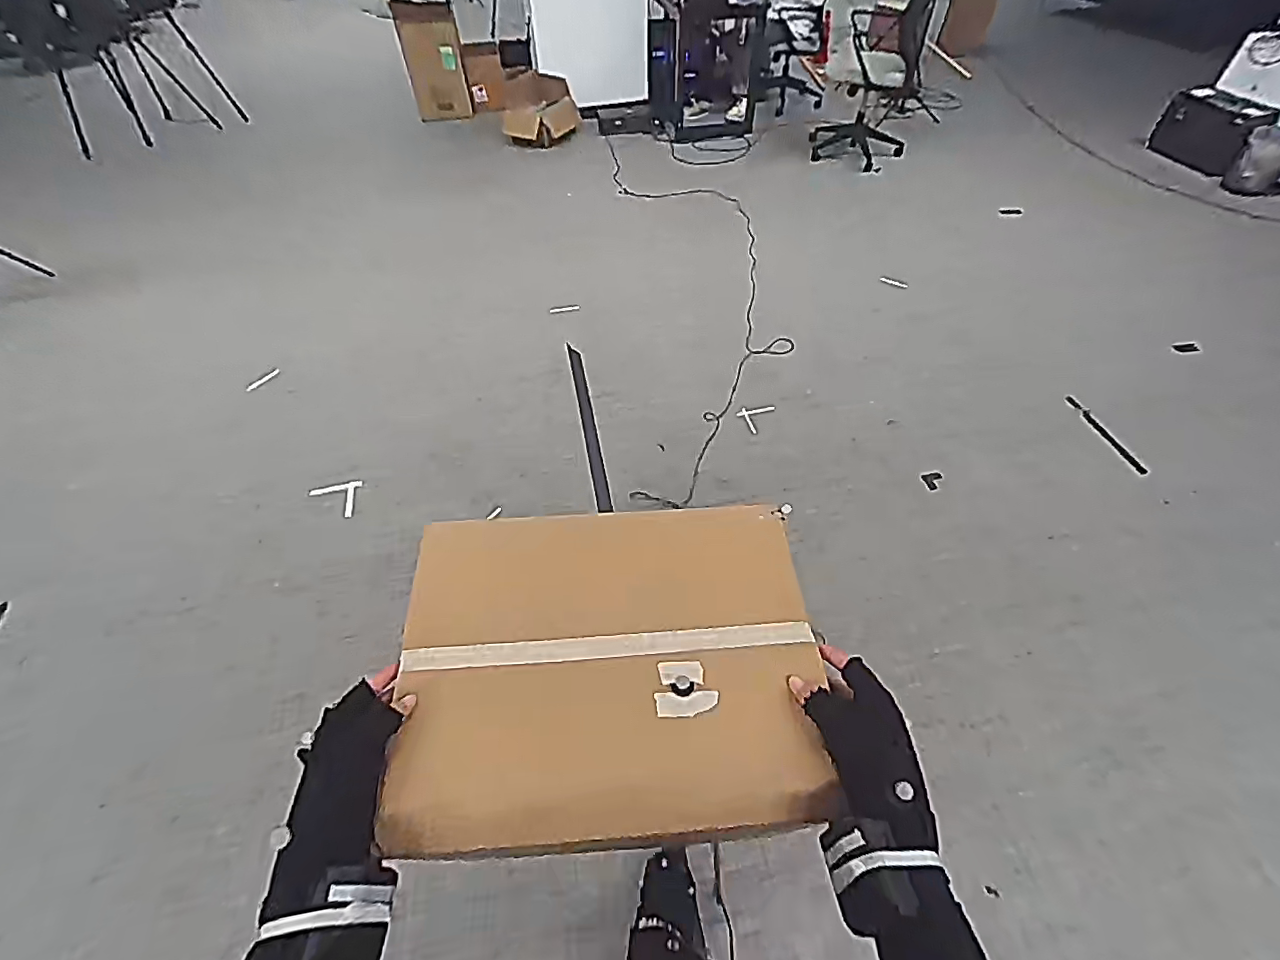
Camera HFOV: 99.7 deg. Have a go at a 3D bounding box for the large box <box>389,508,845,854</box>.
[{"bbox_3d":[-0.030,0.254,0.669,0.408,0.320,0.320,-2,54,-3],"label":"large box"}]
